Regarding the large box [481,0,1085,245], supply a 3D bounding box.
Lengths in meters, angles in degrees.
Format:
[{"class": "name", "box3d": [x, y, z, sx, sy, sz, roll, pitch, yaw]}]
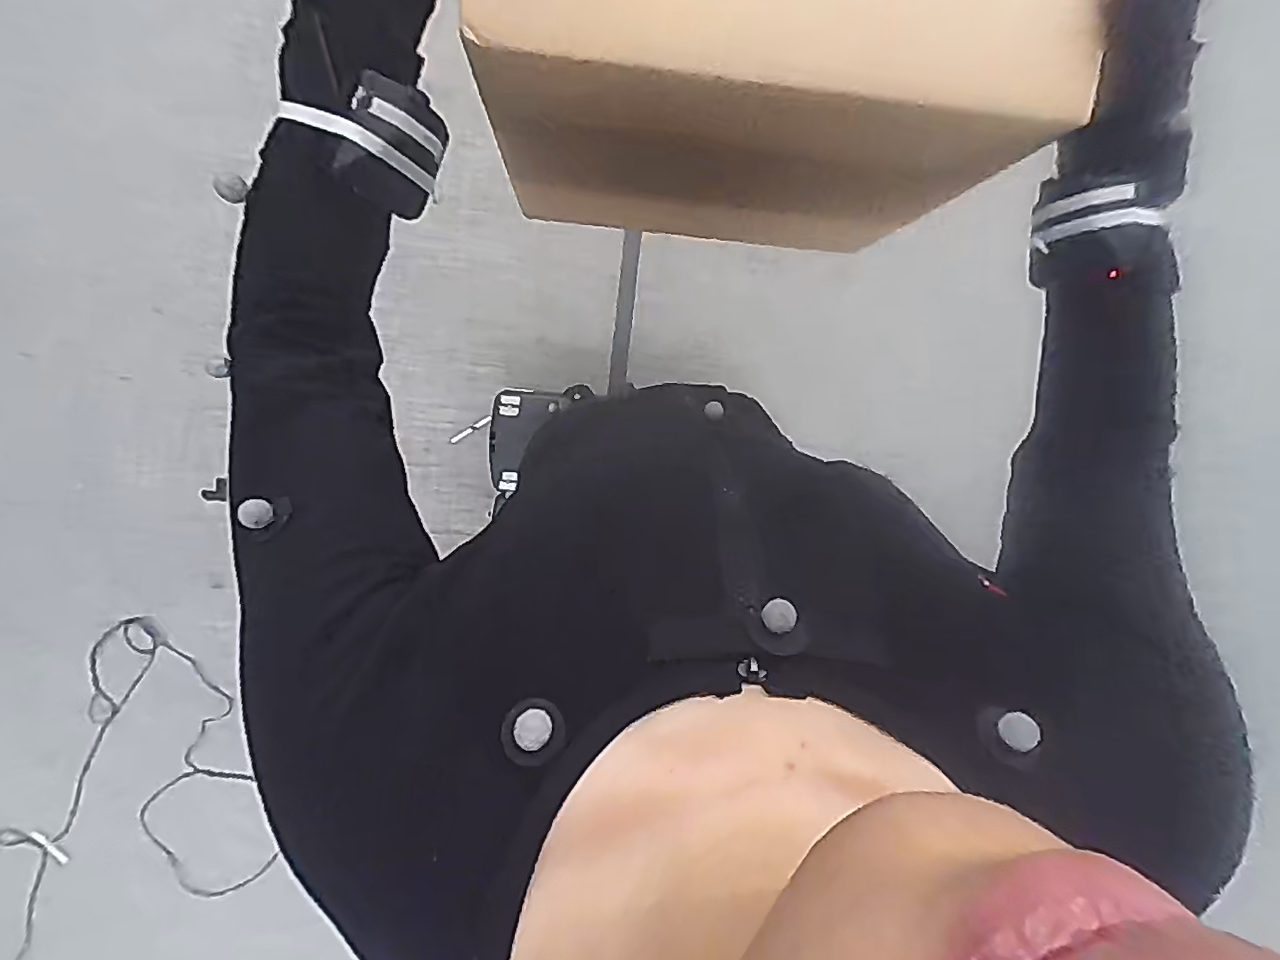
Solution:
[{"class": "large box", "box3d": [0.089, -0.427, 0.479, 0.408, 0.320, 0.320, 3, 98, -7]}]

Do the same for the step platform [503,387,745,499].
[{"class": "step platform", "box3d": [-0.045, -0.105, 1.563, 0.684, 0.204, 0.286, 2, 98, -6]}]
